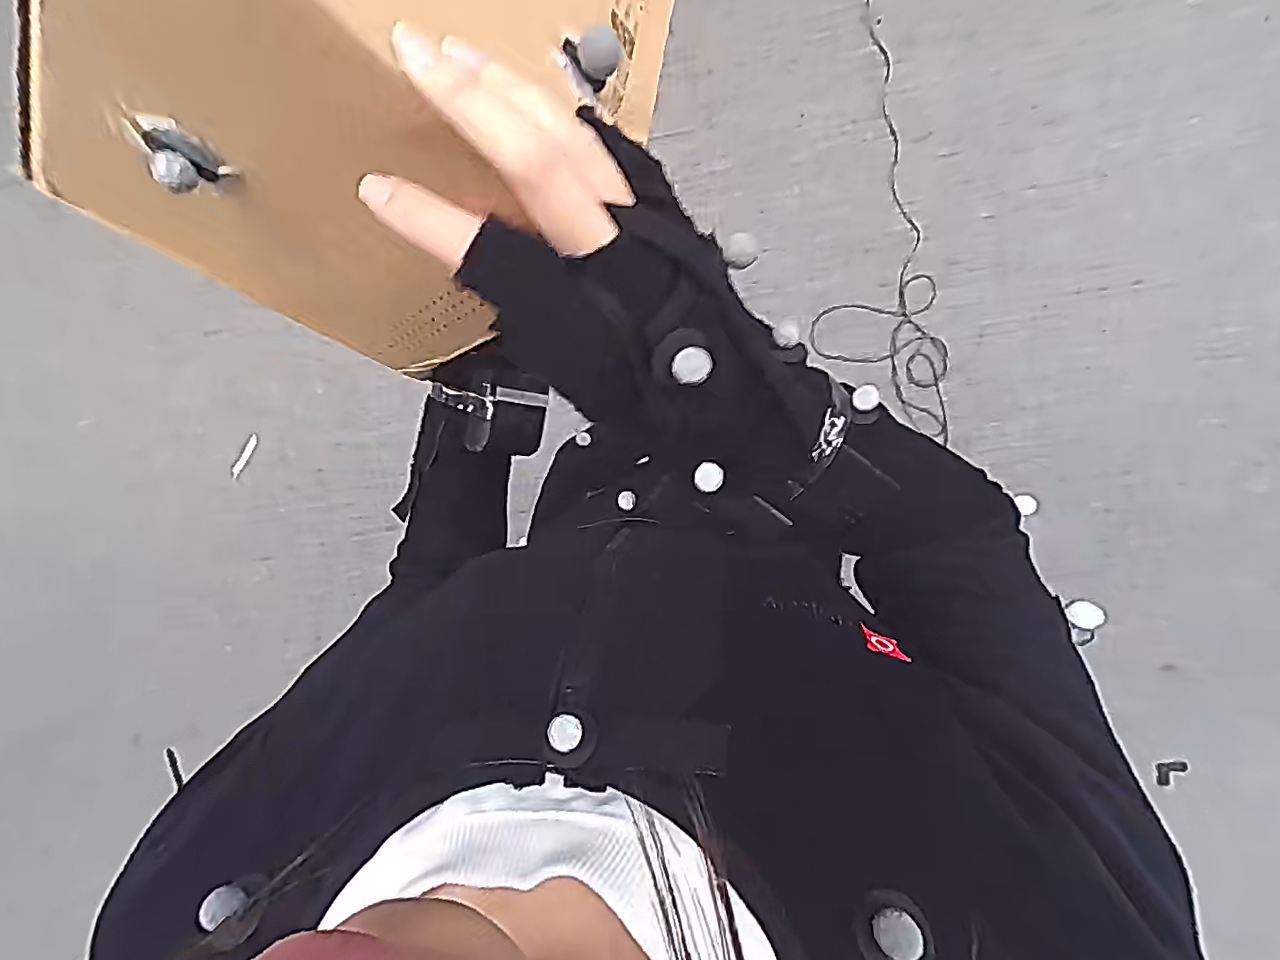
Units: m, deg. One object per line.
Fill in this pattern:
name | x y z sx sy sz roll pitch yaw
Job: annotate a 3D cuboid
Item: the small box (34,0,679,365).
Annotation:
small box | -0.107 -0.173 0.239 0.179 0.176 0.168 -9 65 39
